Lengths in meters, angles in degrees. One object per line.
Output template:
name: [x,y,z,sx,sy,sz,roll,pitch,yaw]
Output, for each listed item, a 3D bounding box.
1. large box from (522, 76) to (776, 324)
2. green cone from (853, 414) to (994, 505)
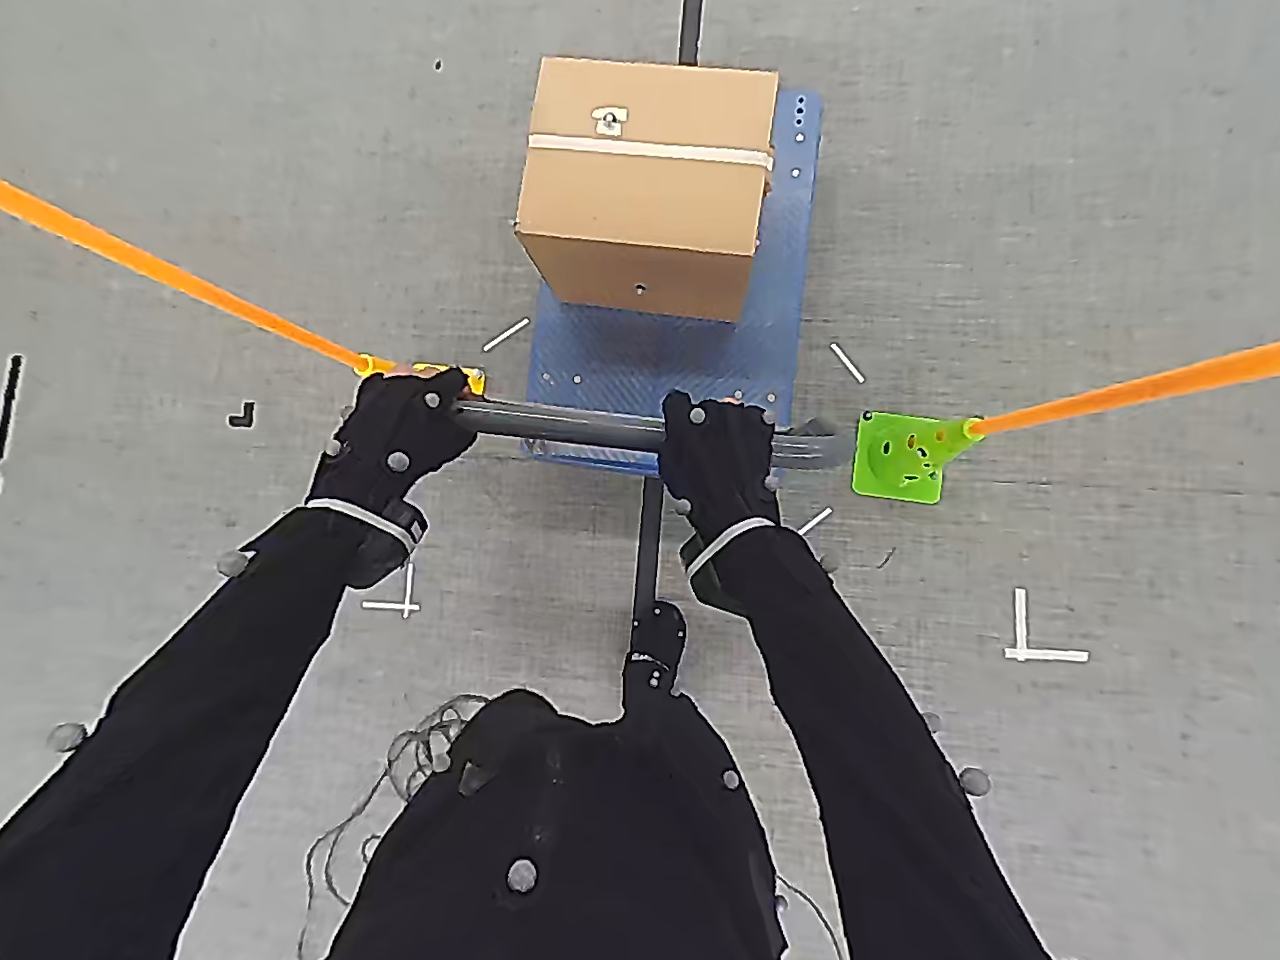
large box: [0.030,-0.519,1.057,0.408,0.320,0.320,9,87,7]
green cone: [0.597,-0.063,1.106,0.202,0.368,0.200,8,86,5]
